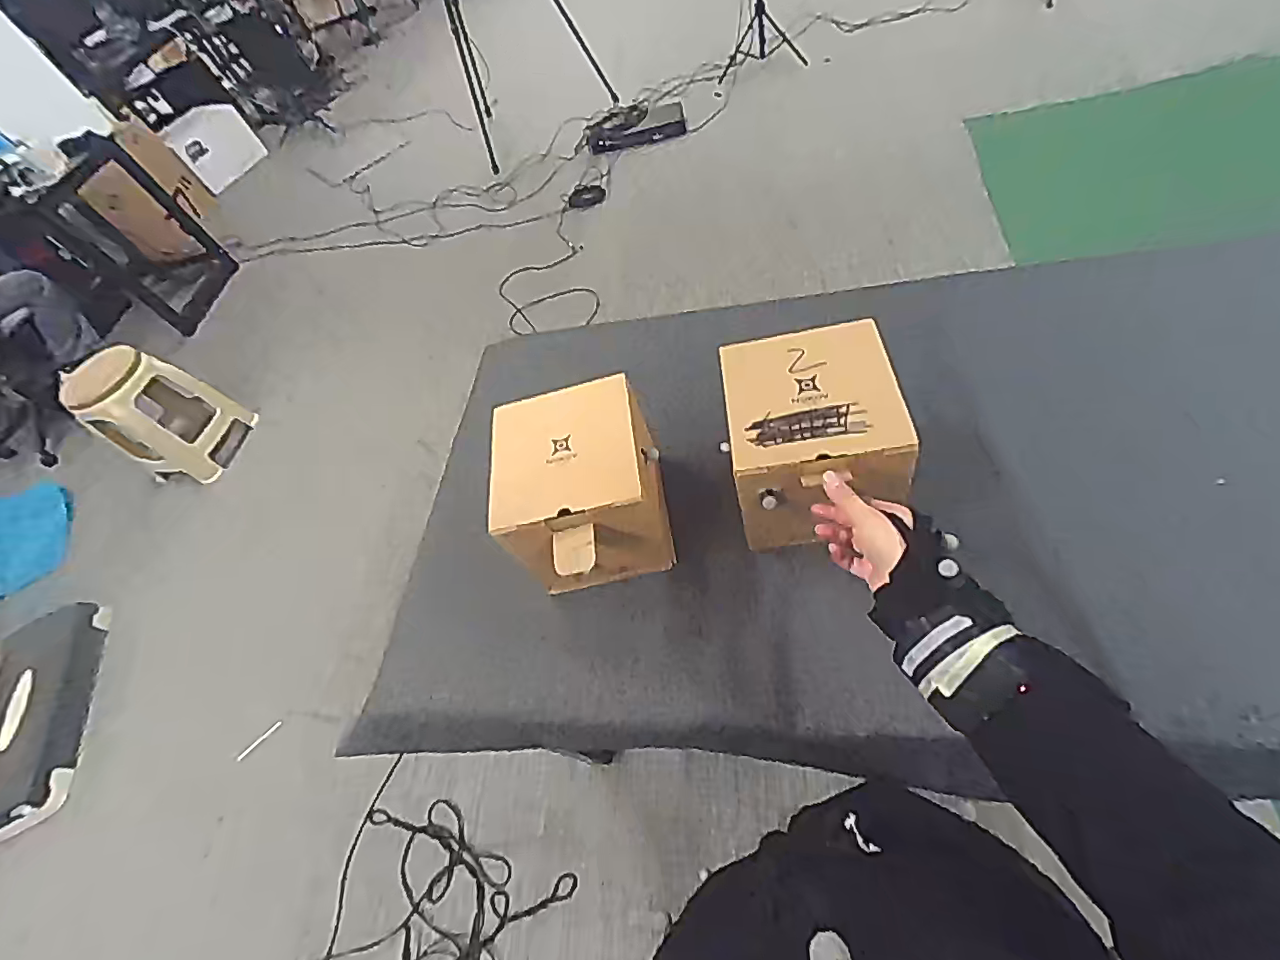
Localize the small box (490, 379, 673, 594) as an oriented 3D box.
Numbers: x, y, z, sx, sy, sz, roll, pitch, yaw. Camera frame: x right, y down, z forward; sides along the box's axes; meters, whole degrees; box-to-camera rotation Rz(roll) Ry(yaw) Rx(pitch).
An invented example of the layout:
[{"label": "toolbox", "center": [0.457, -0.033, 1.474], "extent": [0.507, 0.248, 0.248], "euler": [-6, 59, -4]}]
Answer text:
[{"label": "small box", "center": [-0.063, 0.013, 0.649], "extent": [0.168, 0.176, 0.179], "euler": [-14, 55, 7]}]
